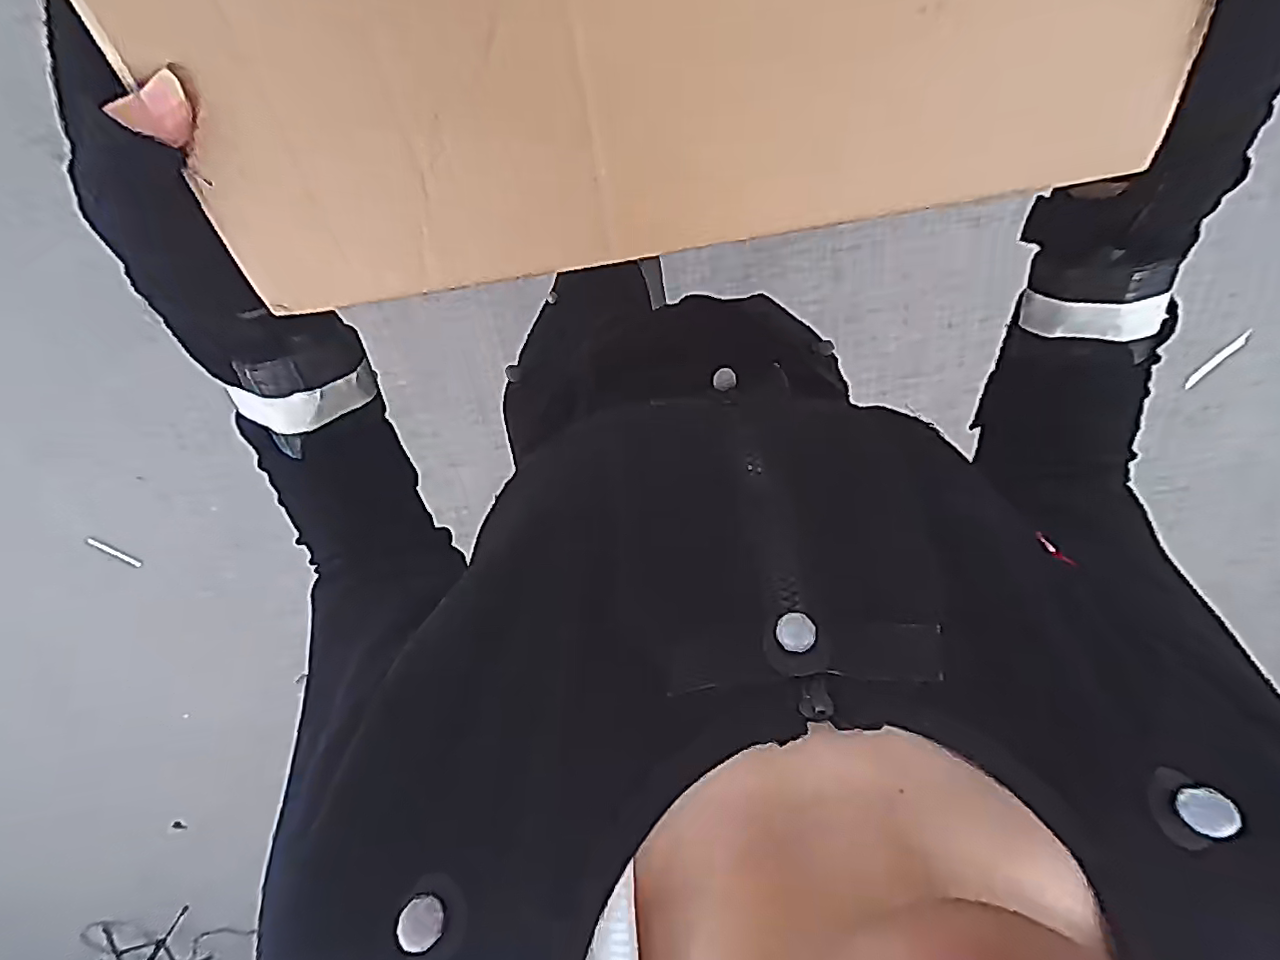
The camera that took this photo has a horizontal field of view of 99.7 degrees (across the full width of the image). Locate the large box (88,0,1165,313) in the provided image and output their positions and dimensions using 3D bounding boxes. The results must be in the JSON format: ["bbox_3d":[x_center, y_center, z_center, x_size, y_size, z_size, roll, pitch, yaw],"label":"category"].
[{"bbox_3d":[-0.012,-0.325,0.270,0.408,0.320,0.320,-9,130,3],"label":"large box"}]
